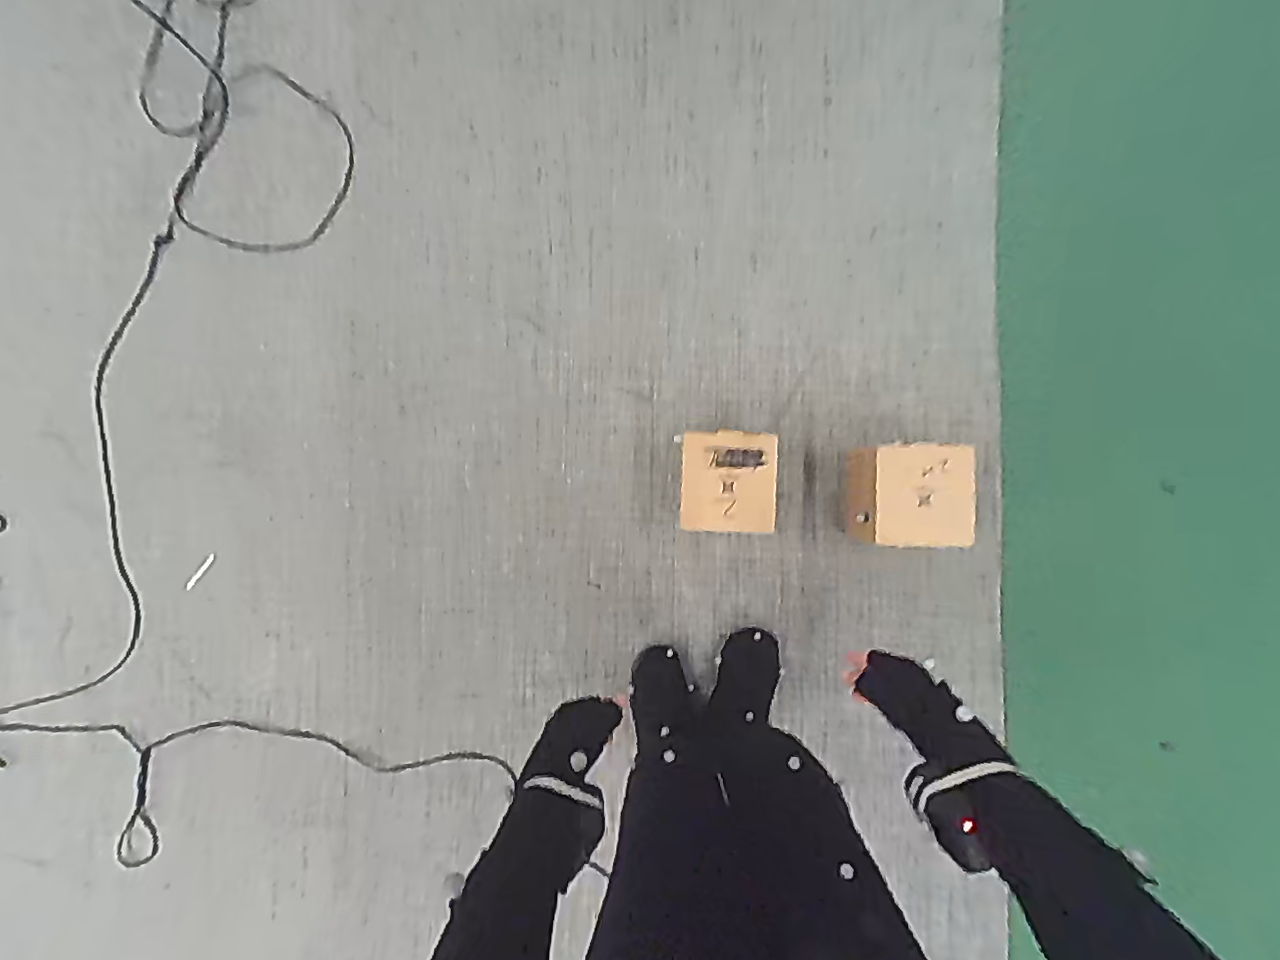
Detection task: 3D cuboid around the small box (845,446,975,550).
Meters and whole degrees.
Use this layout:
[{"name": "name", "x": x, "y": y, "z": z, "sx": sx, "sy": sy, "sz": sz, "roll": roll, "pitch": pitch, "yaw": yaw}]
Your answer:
[{"name": "small box", "x": 0.490, "y": 0.030, "z": 1.000, "sx": 0.168, "sy": 0.176, "sz": 0.179, "roll": 1, "pitch": 89, "yaw": 3}]
